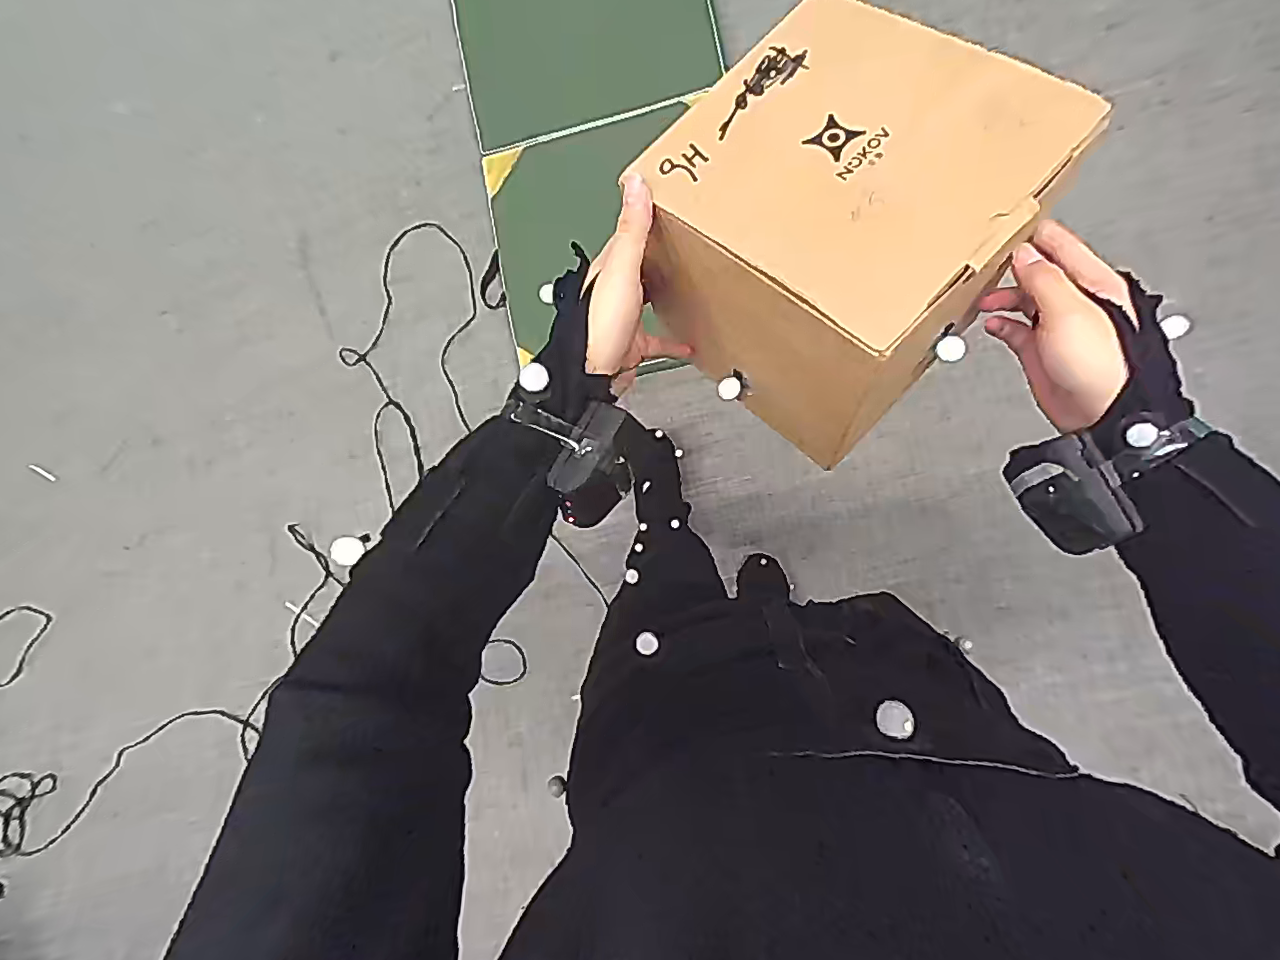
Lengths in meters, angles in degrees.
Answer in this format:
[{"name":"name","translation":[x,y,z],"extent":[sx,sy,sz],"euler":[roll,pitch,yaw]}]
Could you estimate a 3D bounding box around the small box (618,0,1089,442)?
[{"name":"small box","translation":[0.115,-0.145,0.354],"extent":[0.168,0.176,0.179],"euler":[-45,71,-6]}]
